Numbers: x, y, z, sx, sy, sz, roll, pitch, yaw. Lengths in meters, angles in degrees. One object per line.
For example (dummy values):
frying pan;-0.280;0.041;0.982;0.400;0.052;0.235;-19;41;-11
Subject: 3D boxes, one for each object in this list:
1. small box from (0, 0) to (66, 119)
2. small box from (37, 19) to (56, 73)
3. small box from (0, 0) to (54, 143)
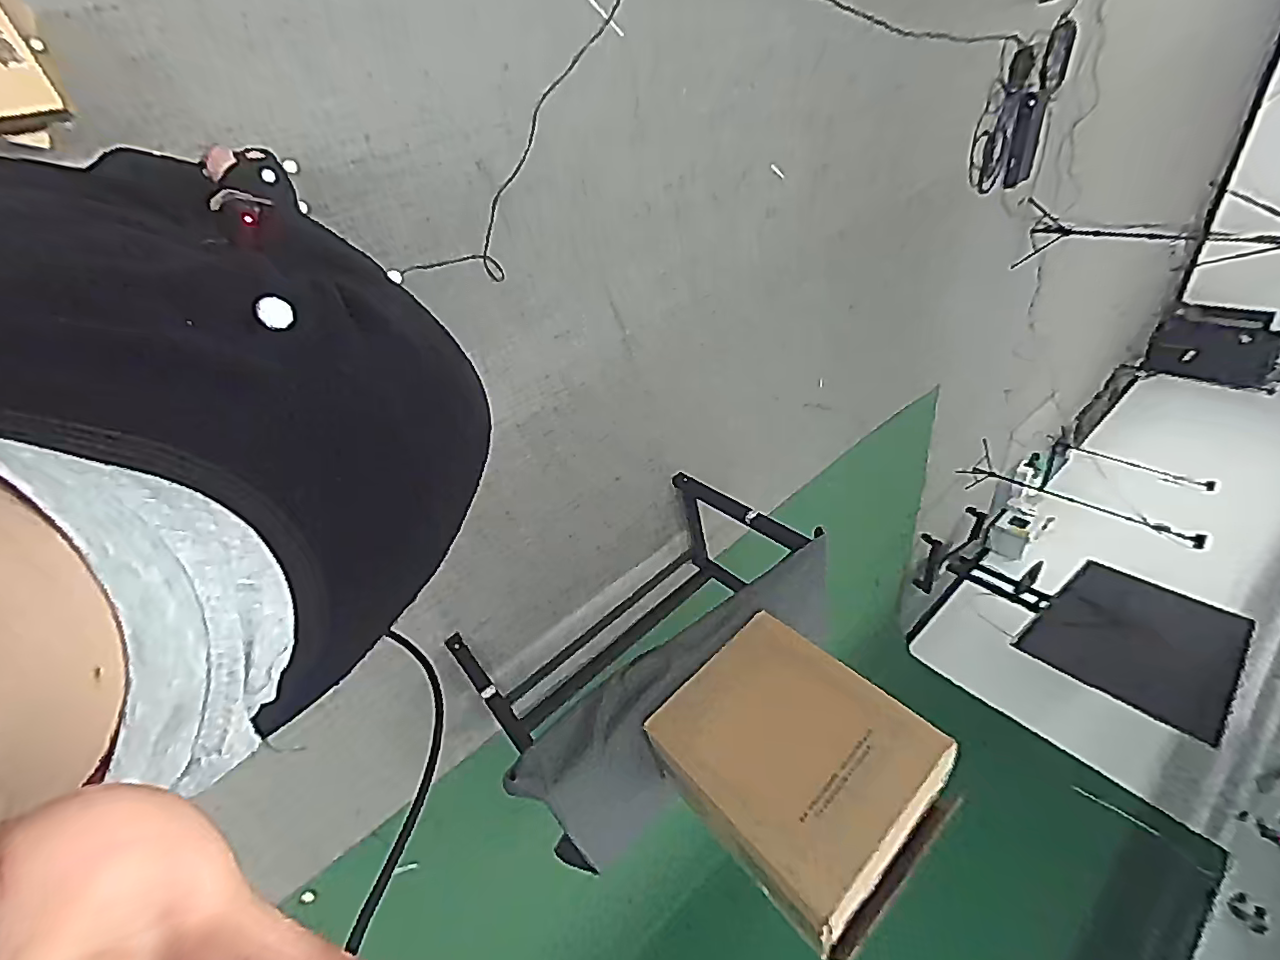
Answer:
small box;-0.833;-0.517;0.624;0.179;0.176;0.168;-30;131;-25
small box;-1.044;-0.667;0.828;0.179;0.176;0.168;12;105;-46
small box;-0.934;-0.584;0.735;0.168;0.176;0.179;-3;117;-41
